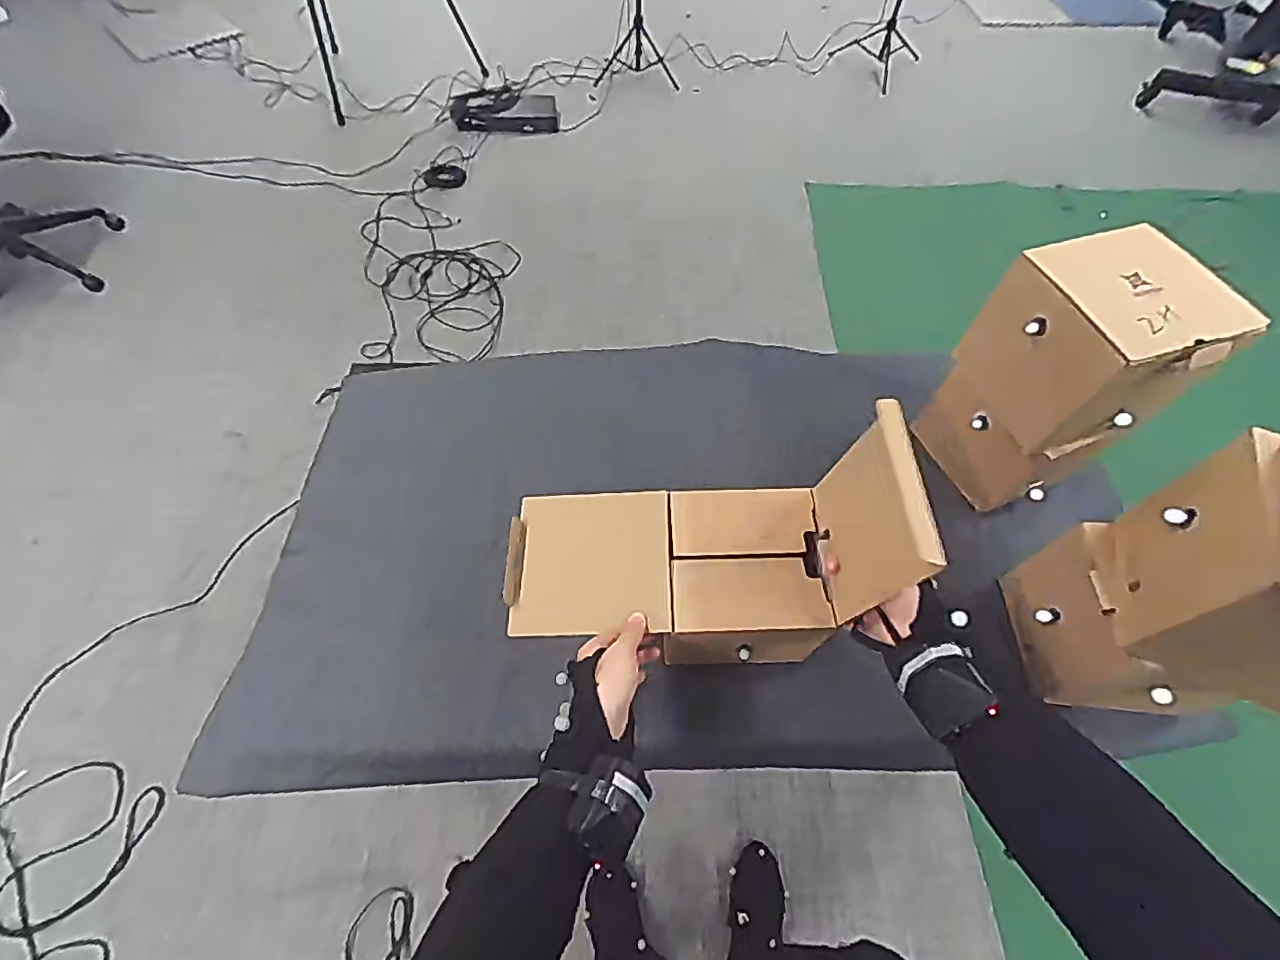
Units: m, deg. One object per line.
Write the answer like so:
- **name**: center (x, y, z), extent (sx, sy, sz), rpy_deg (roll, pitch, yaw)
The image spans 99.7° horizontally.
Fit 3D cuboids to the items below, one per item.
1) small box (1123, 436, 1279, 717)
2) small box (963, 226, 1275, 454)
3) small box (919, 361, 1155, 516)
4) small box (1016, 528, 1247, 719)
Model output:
- **small box**: center (0.581, 0.096, 0.481), extent (0.179, 0.176, 0.168), rpy_deg (23, 59, 13)
- **small box**: center (0.526, -0.158, 0.632), extent (0.168, 0.176, 0.179), rpy_deg (-15, 62, -5)
- **small box**: center (0.544, -0.077, 0.775), extent (0.168, 0.176, 0.179), rpy_deg (-20, 63, -9)
- **small box**: center (0.577, 0.171, 0.626), extent (0.179, 0.176, 0.168), rpy_deg (4, 57, 3)
